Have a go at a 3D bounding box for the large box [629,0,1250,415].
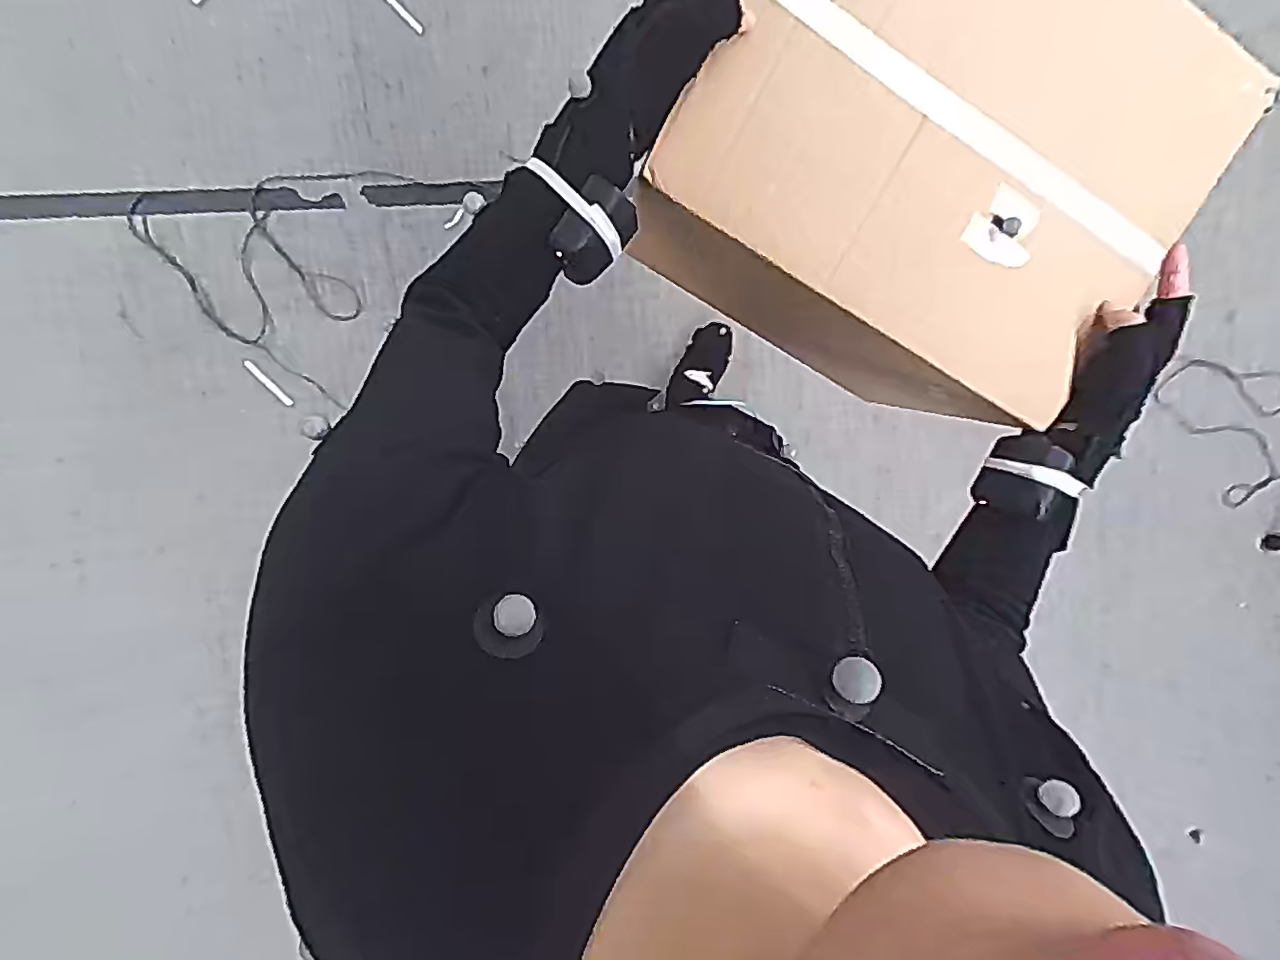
[{"bbox_3d":[0.239,-0.310,0.571,0.408,0.320,0.320,28,100,-11],"label":"large box"}]
